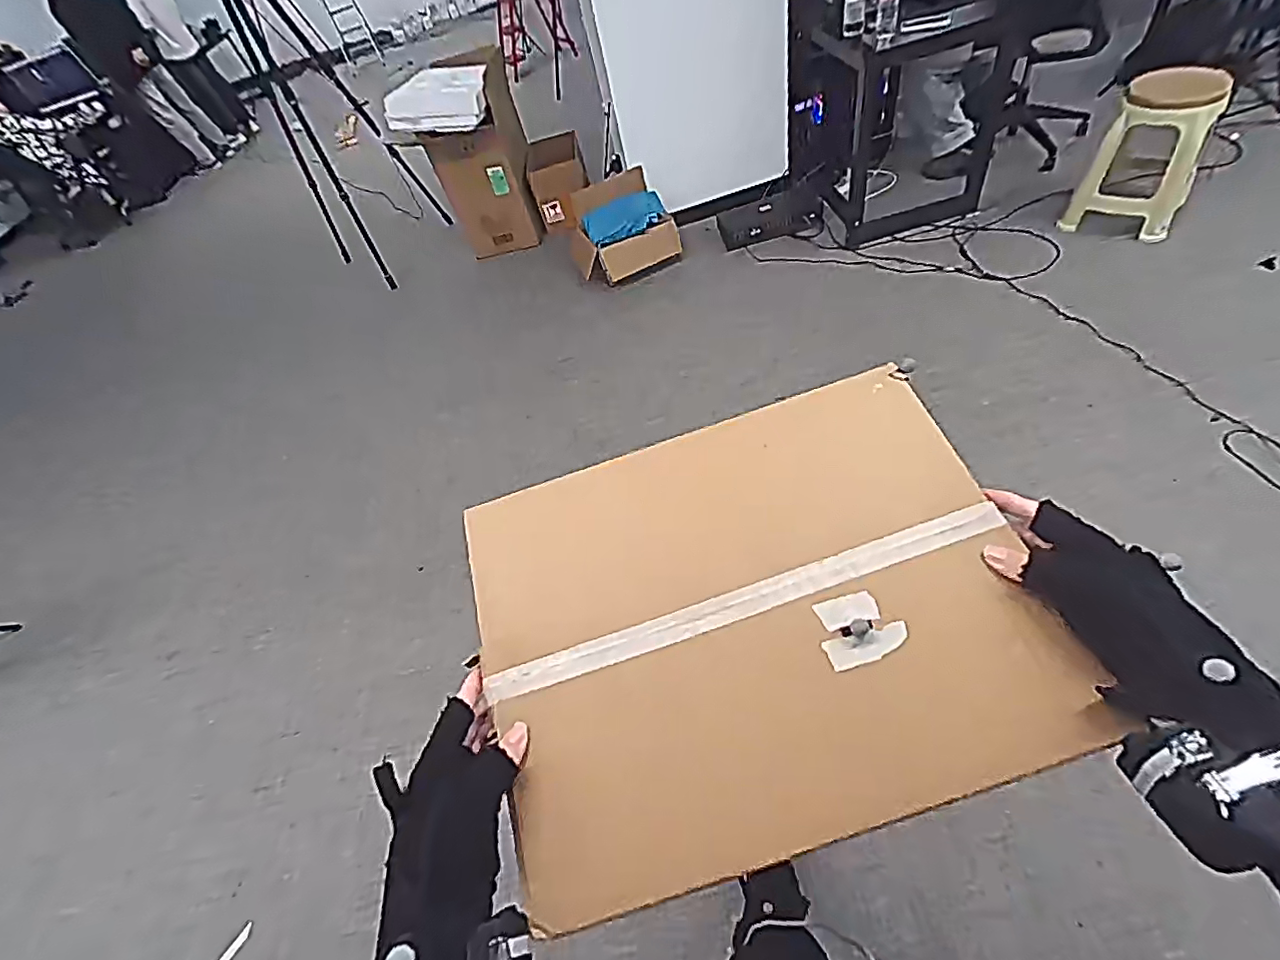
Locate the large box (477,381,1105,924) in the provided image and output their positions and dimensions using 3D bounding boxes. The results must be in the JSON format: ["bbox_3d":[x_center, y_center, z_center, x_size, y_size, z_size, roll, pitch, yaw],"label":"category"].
[{"bbox_3d":[0.102,0.168,0.556,0.408,0.320,0.320,-19,62,0],"label":"large box"}]
